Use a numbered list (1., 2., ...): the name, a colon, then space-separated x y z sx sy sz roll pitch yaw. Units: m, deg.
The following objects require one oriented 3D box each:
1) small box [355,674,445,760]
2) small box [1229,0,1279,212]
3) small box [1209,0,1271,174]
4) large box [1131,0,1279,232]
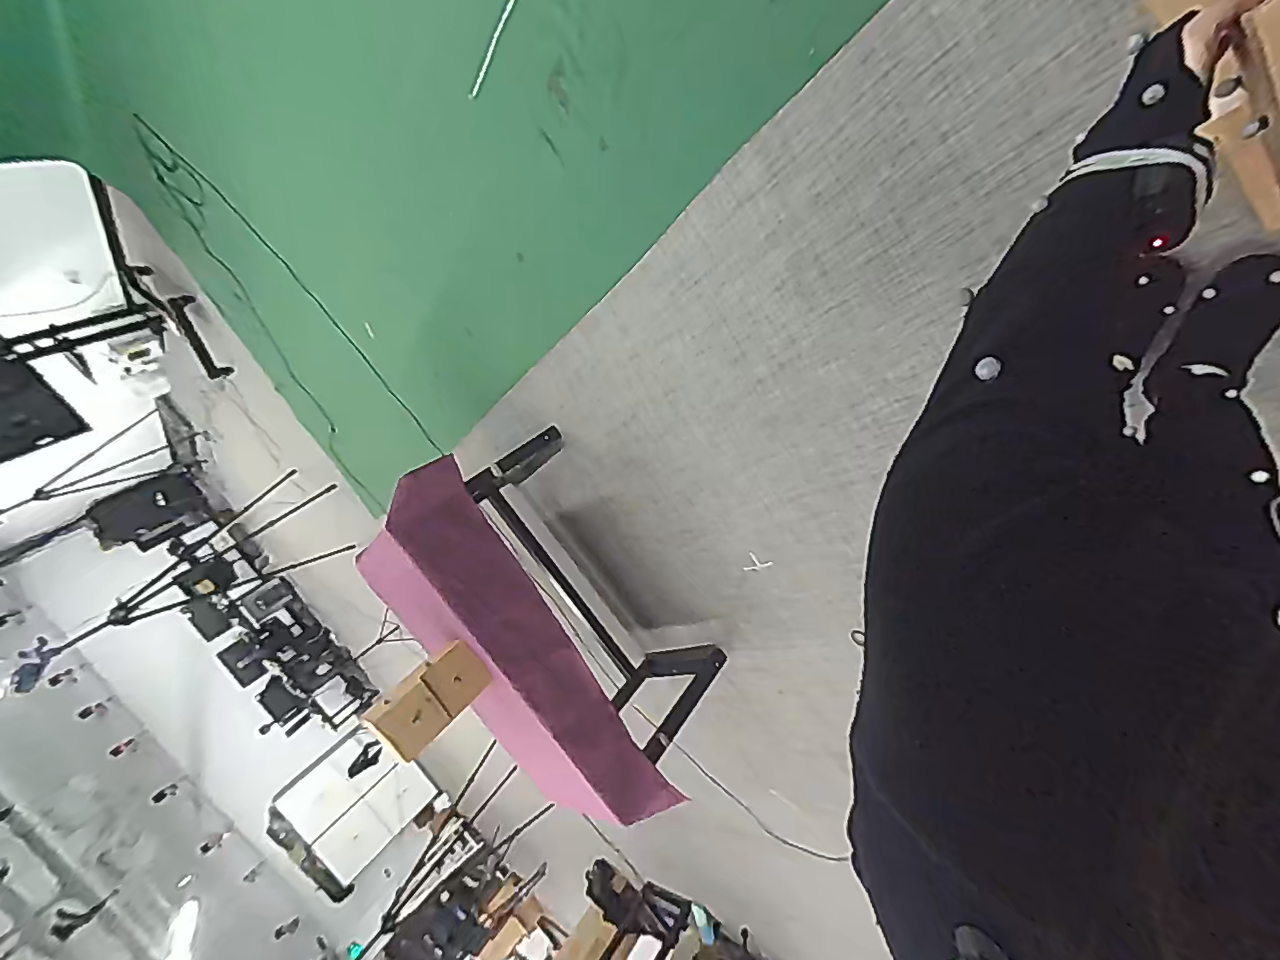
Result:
1. small box: -0.727 0.715 1.649 0.179 0.176 0.168 -20 105 48
2. small box: 0.530 -0.284 0.351 0.179 0.176 0.168 -19 105 48
3. small box: 0.624 -0.375 0.452 0.179 0.176 0.168 -24 101 49
4. large box: 0.813 -0.530 0.540 0.408 0.320 0.320 -27 100 49
